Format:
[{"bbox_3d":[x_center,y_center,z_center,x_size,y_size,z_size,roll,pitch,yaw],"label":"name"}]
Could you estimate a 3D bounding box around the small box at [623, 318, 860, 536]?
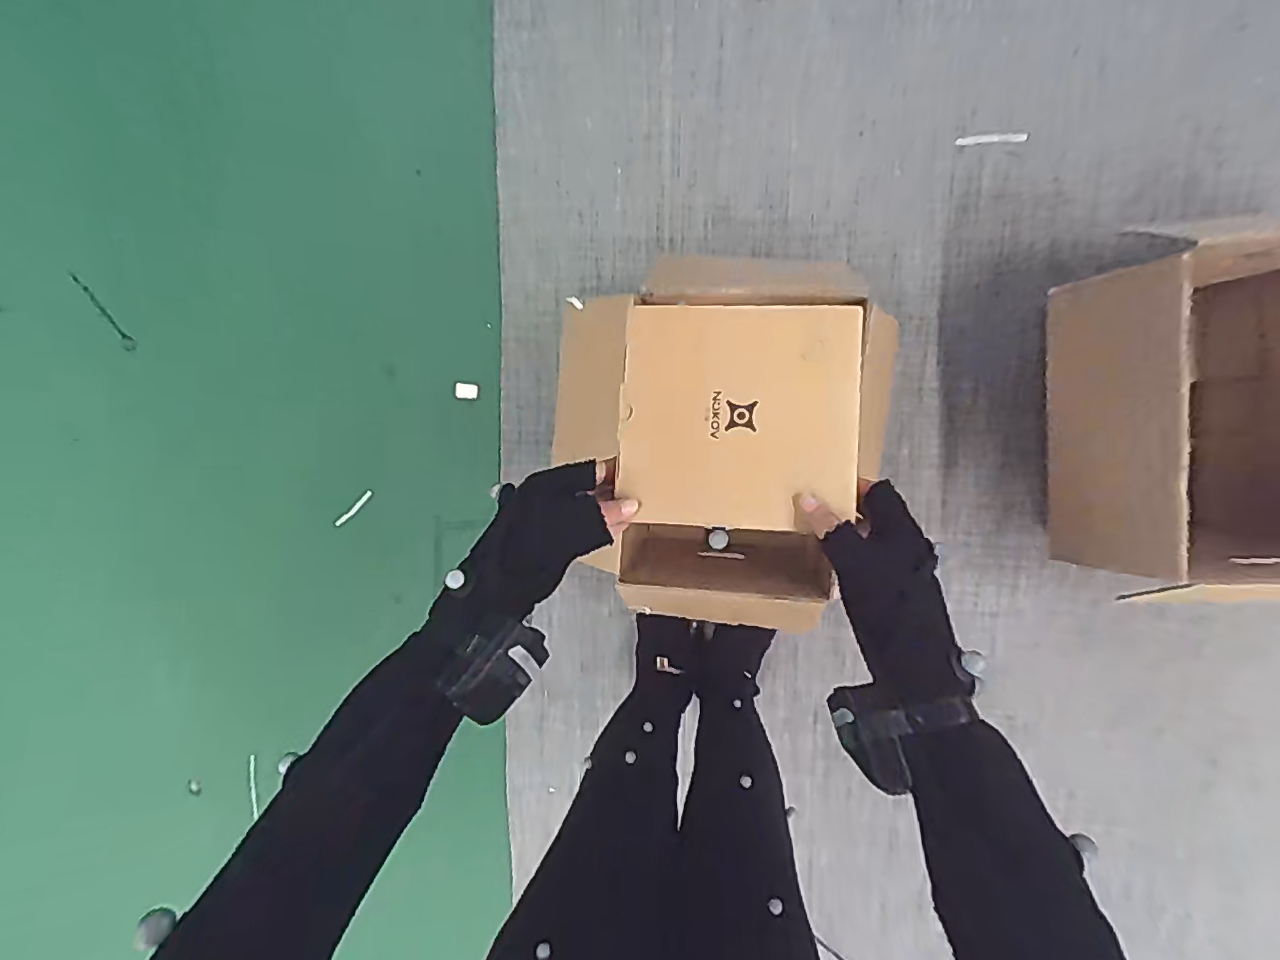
[{"bbox_3d":[0.088,-0.039,0.497,0.179,0.176,0.168,3,86,9],"label":"small box"}]
